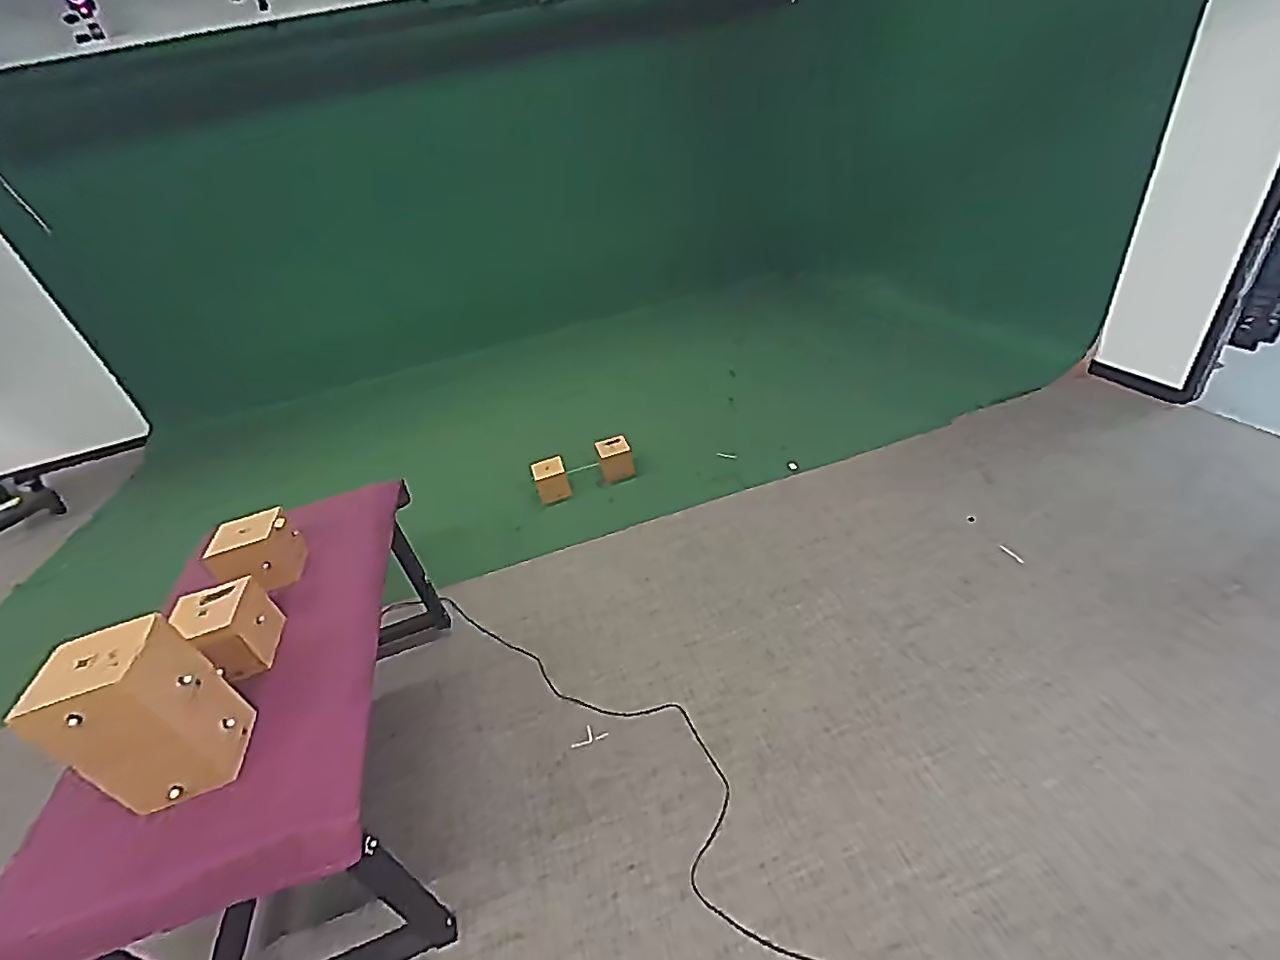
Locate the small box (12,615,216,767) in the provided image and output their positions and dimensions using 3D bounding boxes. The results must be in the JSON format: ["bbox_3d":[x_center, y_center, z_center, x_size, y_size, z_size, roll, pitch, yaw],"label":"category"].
[{"bbox_3d":[-0.942,0.388,0.992,0.179,0.176,0.168,-18,35,-10],"label":"small box"}]

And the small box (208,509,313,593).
[{"bbox_3d":[-1.095,0.218,1.581,0.179,0.176,0.168,-18,34,-8],"label":"small box"}]

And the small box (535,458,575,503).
[{"bbox_3d":[-0.467,0.011,2.969,0.168,0.176,0.179,-18,34,-8],"label":"small box"}]

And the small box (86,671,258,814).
[{"bbox_3d":[-0.915,0.523,1.082,0.179,0.176,0.168,-18,34,-10],"label":"small box"}]

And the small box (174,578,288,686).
[{"bbox_3d":[-0.999,0.377,1.320,0.168,0.176,0.179,-19,36,-9],"label":"small box"}]
